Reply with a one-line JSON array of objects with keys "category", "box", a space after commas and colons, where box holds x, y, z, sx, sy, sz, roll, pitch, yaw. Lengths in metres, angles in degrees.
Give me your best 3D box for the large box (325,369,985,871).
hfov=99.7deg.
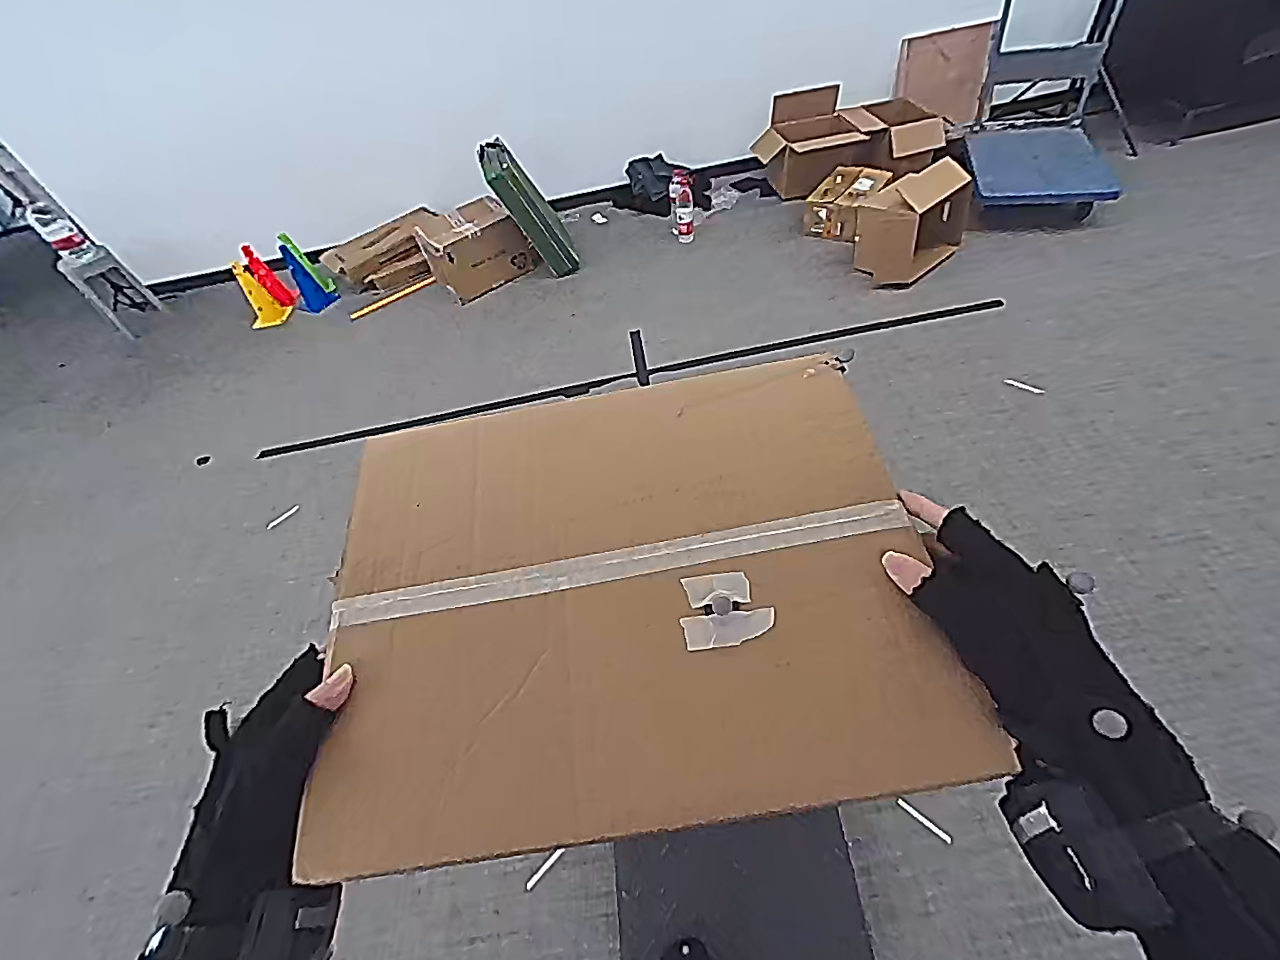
[{"category": "large box", "box": [0.002, 0.144, 0.519, 0.408, 0.320, 0.320, -10, 58, 2]}]
